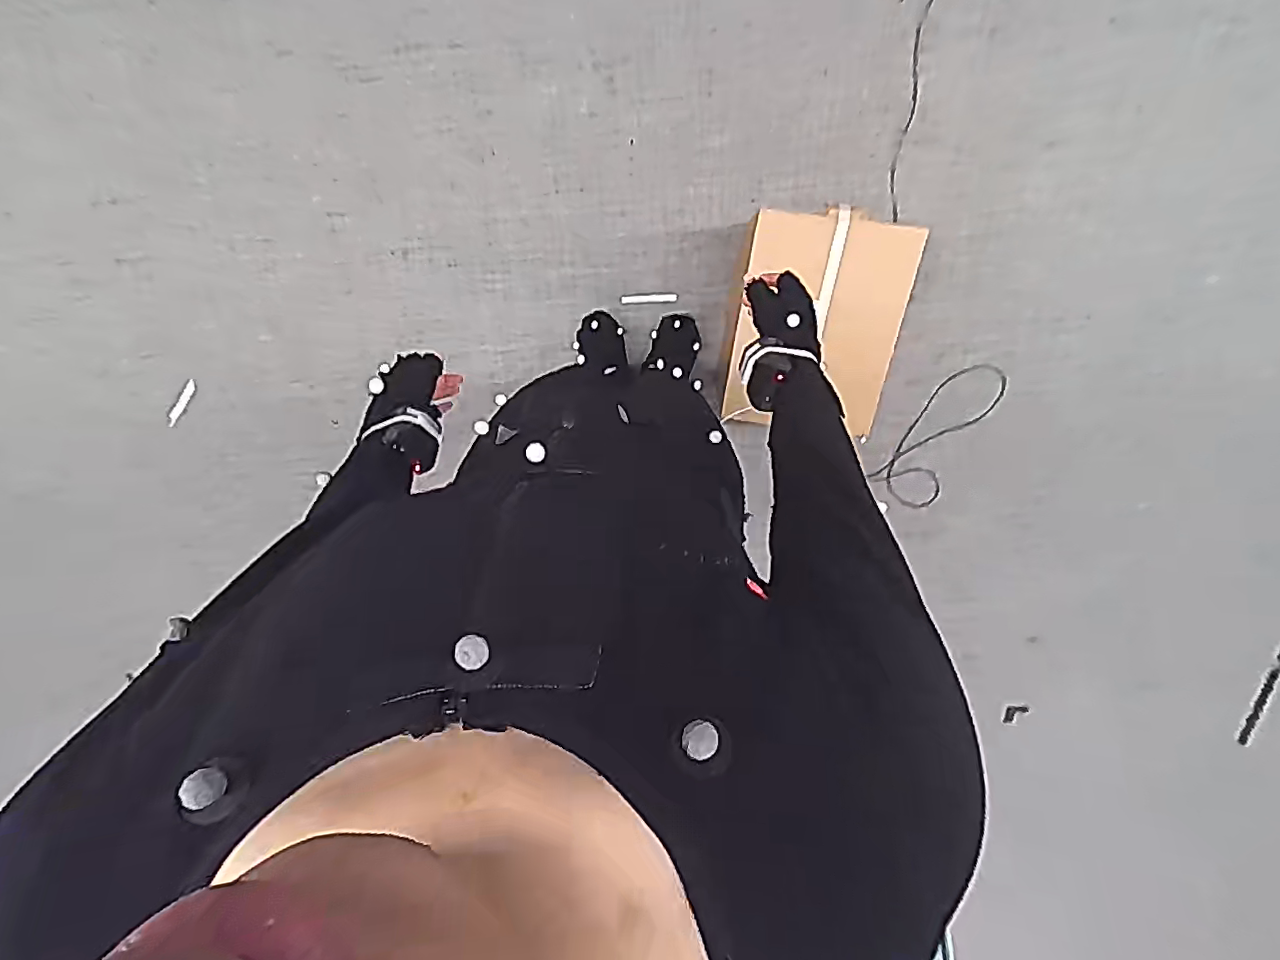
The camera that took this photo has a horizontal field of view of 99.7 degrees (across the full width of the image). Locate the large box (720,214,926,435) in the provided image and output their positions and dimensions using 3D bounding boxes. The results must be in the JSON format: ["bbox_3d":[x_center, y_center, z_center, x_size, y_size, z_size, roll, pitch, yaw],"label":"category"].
[{"bbox_3d":[0.375,-0.355,1.221,0.320,0.320,0.408,9,112,2],"label":"large box"}]
